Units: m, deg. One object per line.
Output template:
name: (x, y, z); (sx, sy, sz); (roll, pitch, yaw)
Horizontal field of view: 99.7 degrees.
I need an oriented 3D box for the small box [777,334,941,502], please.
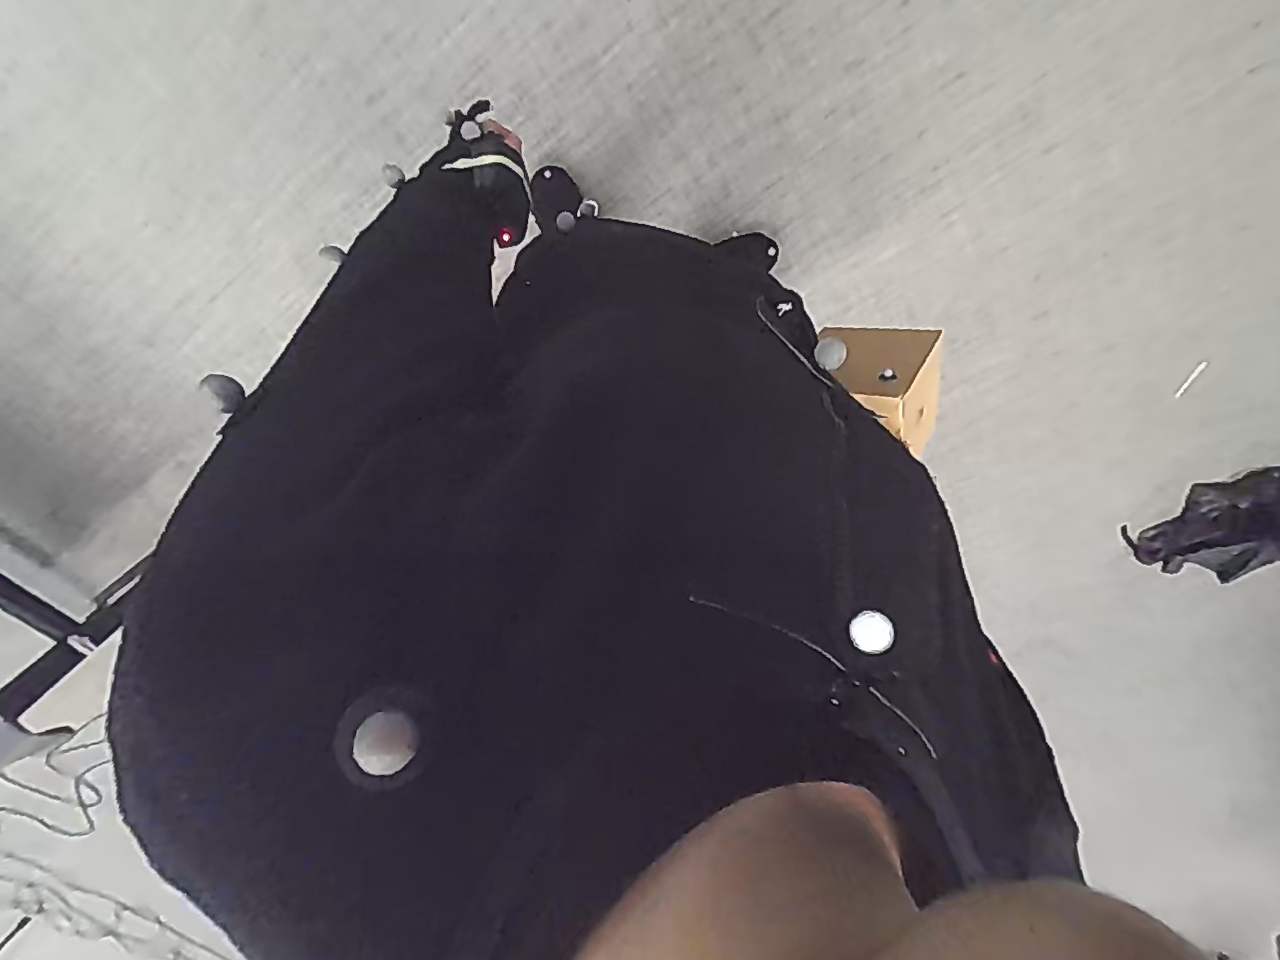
small box: (0.314, -0.099, 0.779); (0.176, 0.179, 0.168); (14, 138, 36)
